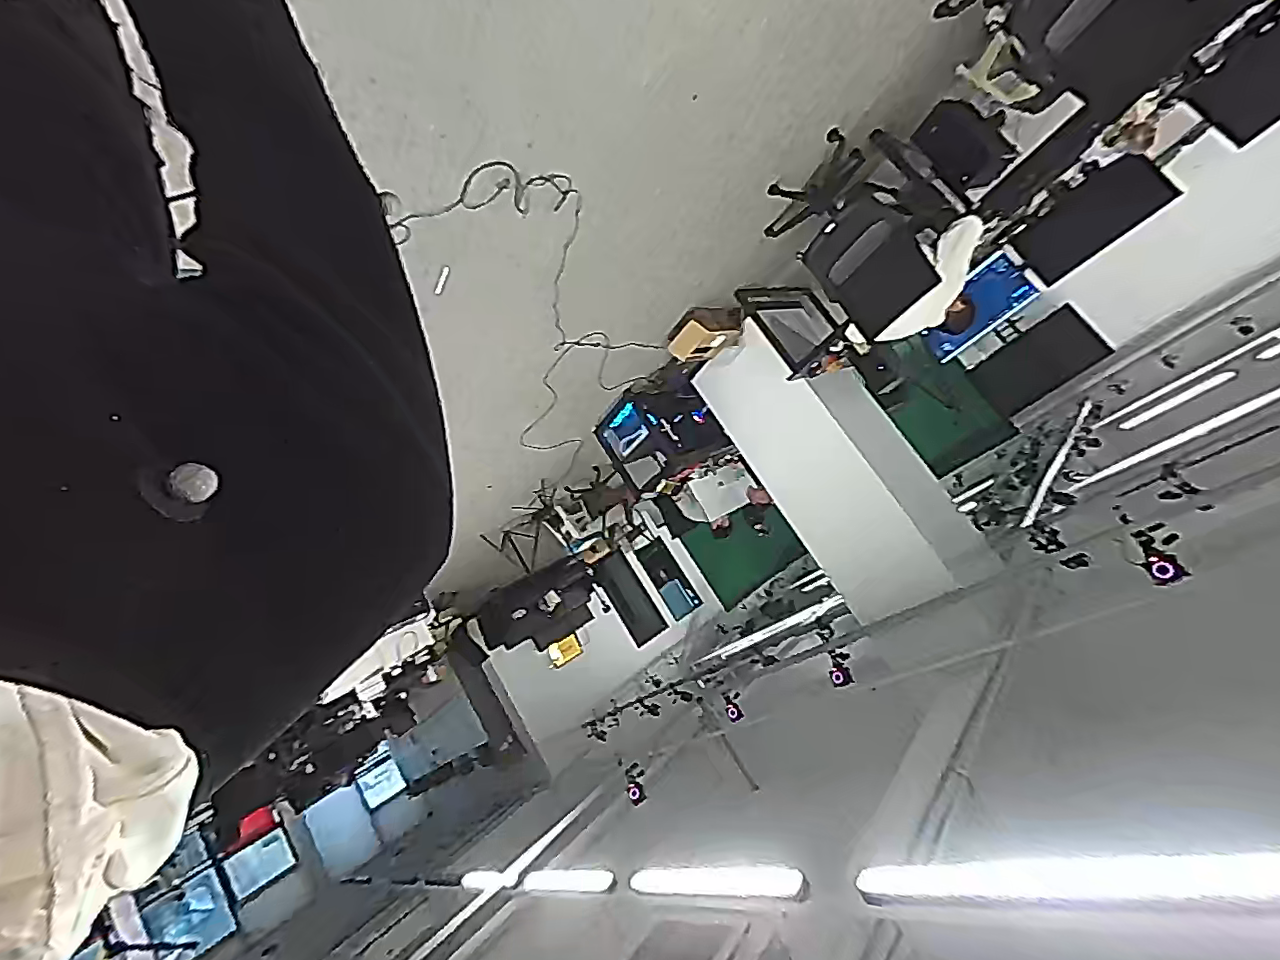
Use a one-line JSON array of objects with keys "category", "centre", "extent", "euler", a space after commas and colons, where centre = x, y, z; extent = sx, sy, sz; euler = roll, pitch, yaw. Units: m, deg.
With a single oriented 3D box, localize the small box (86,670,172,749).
[{"category": "small box", "centre": [-1.725, 0.772, 1.825], "extent": [0.179, 0.176, 0.168], "euler": [-21, 165, -42]}]
